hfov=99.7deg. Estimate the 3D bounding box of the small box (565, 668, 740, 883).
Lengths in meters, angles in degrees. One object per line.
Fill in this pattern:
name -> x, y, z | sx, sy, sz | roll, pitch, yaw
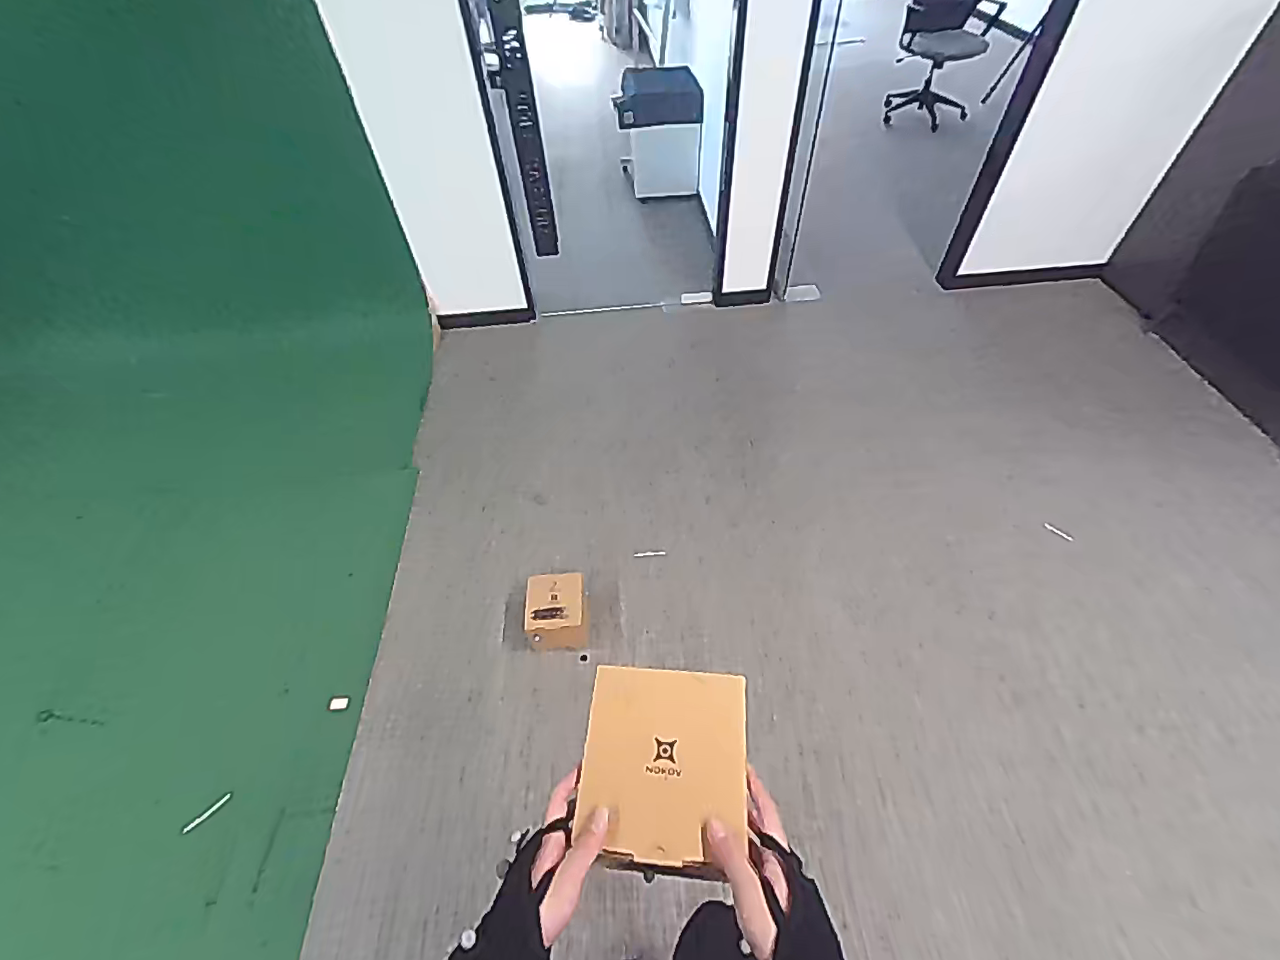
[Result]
small box -> 0.024, 0.334, 0.611 | 0.168, 0.176, 0.179 | 2, 51, 7
